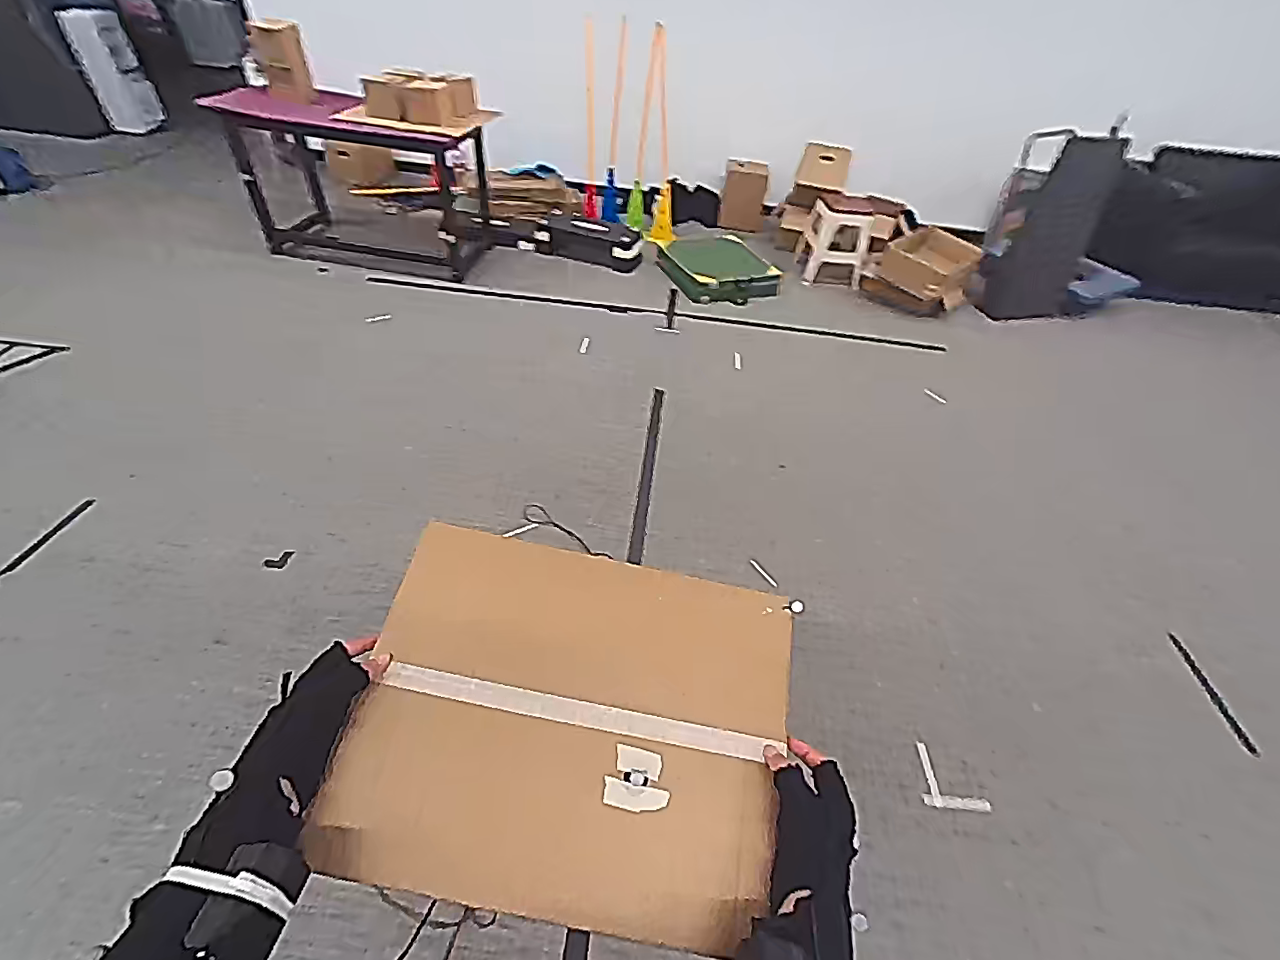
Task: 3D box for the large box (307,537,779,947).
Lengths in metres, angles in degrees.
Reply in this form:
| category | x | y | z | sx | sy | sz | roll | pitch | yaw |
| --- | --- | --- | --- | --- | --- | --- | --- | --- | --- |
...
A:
| category | x | y | z | sx | sy | sz | roll | pitch | yaw |
| --- | --- | --- | --- | --- | --- | --- | --- | --- | --- |
| large box | -0.081 | 0.301 | 0.655 | 0.408 | 0.320 | 0.320 | 12 | 60 | -1 |
